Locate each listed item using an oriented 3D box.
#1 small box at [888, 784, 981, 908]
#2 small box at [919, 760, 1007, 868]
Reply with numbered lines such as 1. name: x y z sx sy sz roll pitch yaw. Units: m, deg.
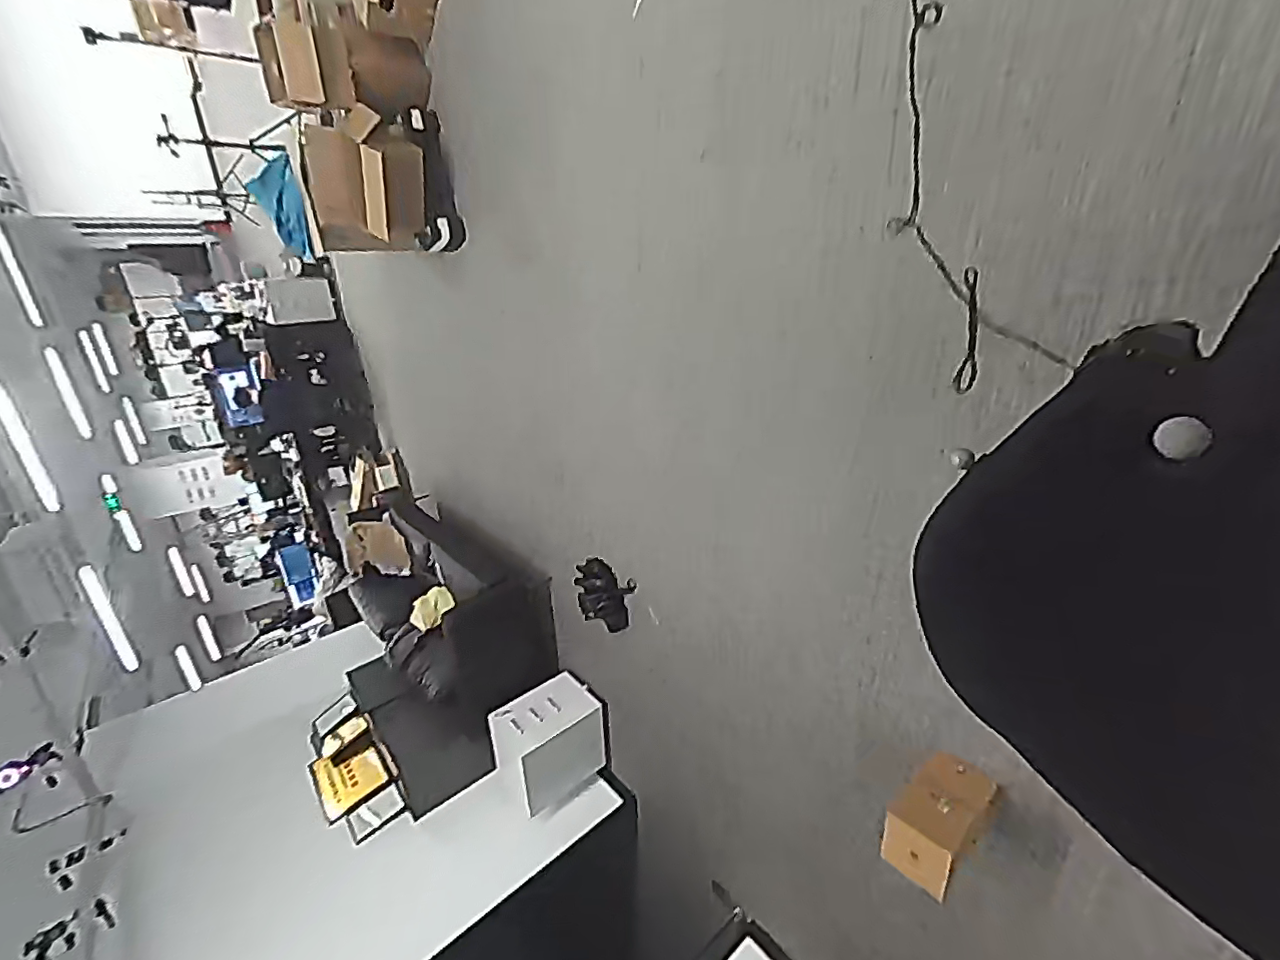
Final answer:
1. small box: 0.794 0.976 1.456 0.168 0.176 0.179 17 117 45
2. small box: 0.919 0.947 1.560 0.179 0.176 0.168 20 121 46
